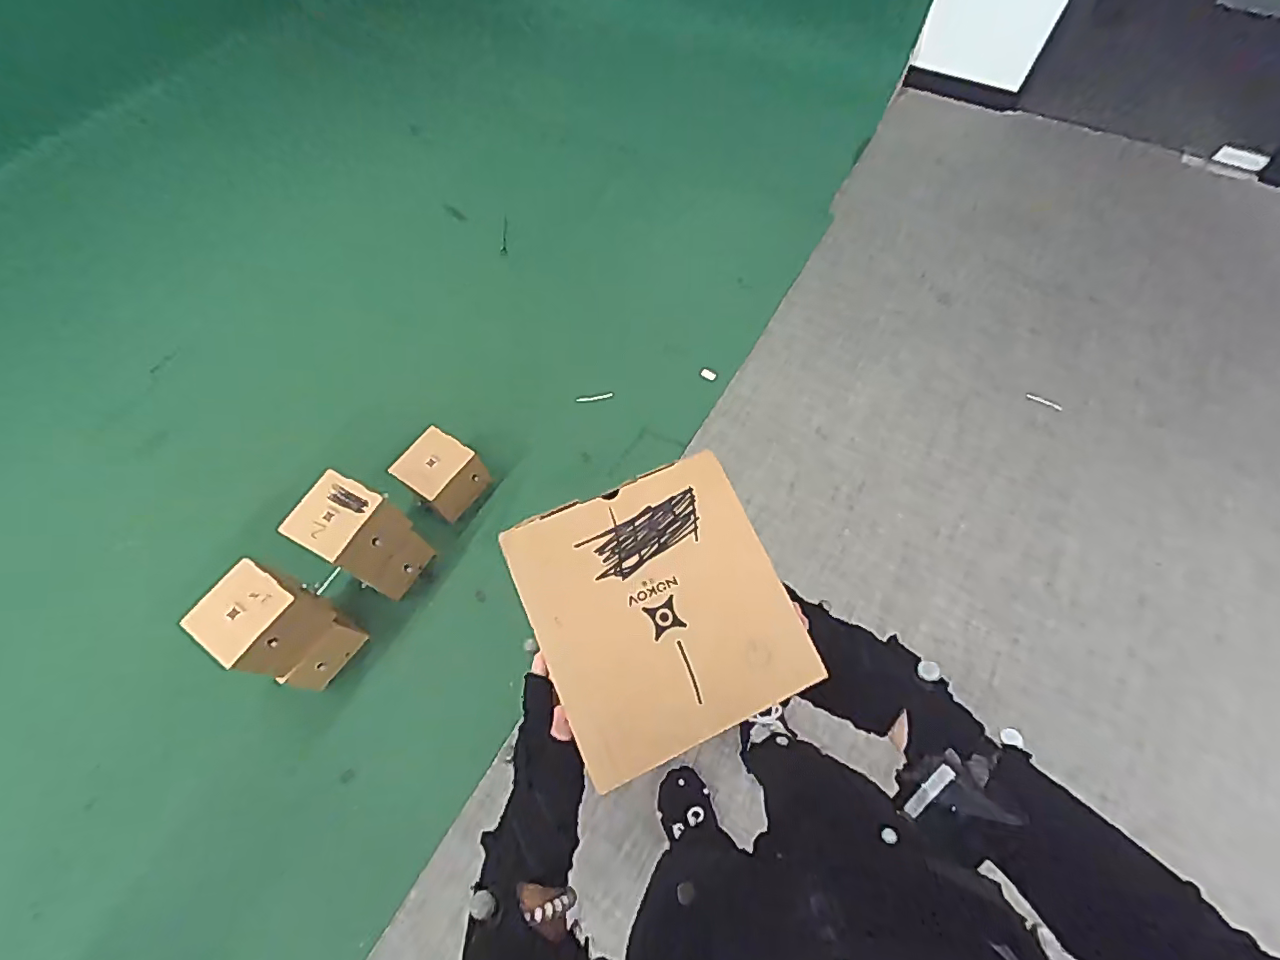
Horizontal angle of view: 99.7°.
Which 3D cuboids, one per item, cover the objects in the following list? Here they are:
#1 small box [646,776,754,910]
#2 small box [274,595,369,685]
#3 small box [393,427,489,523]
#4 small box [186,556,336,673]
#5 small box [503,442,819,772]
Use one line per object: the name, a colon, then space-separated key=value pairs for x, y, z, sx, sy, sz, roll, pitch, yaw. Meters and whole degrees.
small box: x=0.127 y=0.760 z=1.151 sx=0.179 sy=0.176 sz=0.168 roll=14 pitch=76 yaw=26
small box: x=-0.816 y=0.388 z=1.339 sx=0.179 sy=0.176 sz=0.168 roll=32 pitch=69 yaw=17
small box: x=-0.549 y=-0.011 z=1.529 sx=0.168 sy=0.176 sz=0.179 roll=31 pitch=69 yaw=16
small box: x=-0.825 y=0.304 z=1.197 sx=0.168 sy=0.176 sz=0.179 roll=32 pitch=69 yaw=16
small box: x=0.004 y=0.099 z=0.436 sx=0.168 sy=0.176 sz=0.179 roll=-21 pitch=75 yaw=-11
